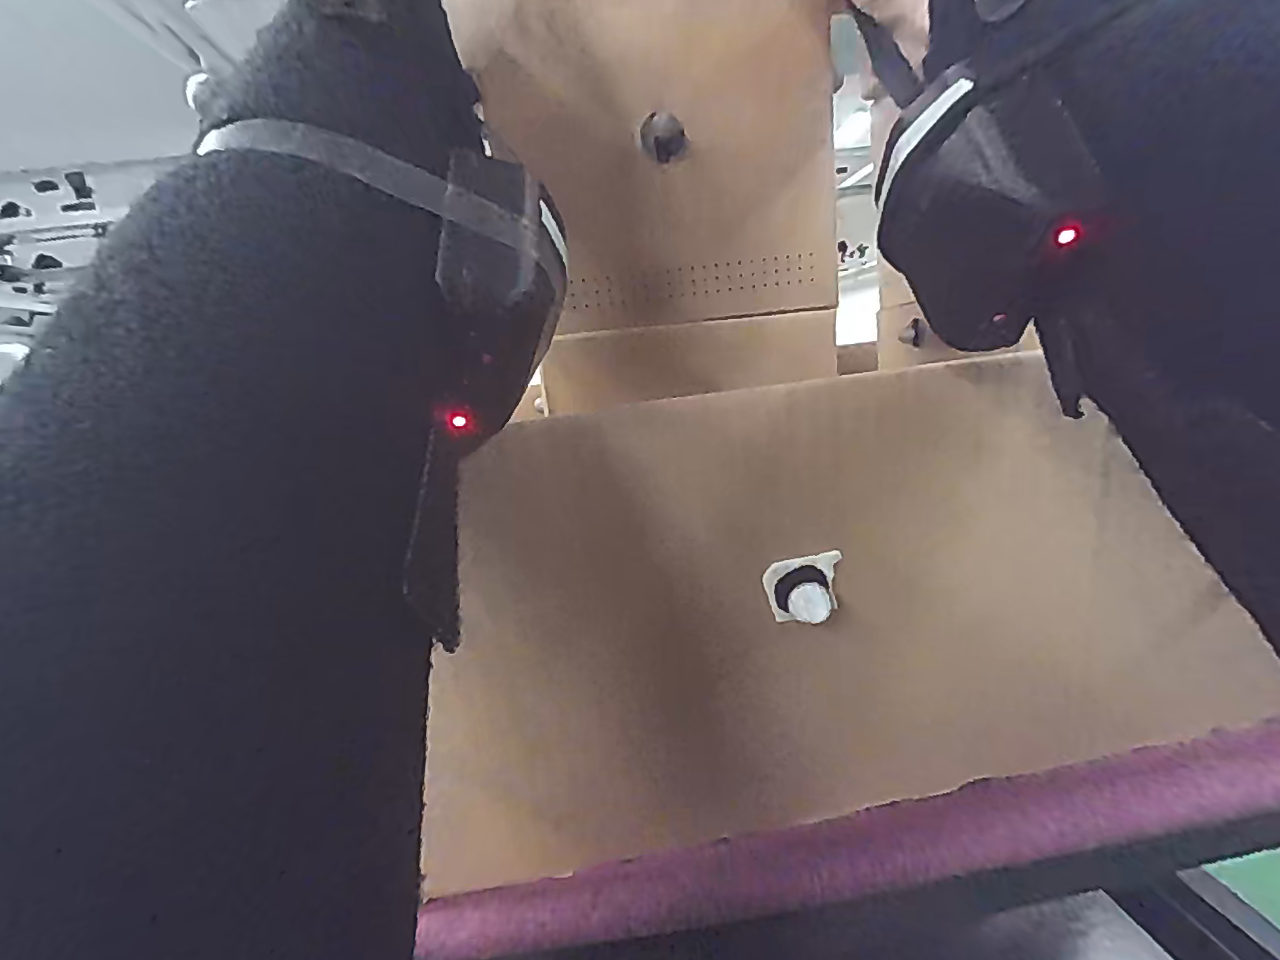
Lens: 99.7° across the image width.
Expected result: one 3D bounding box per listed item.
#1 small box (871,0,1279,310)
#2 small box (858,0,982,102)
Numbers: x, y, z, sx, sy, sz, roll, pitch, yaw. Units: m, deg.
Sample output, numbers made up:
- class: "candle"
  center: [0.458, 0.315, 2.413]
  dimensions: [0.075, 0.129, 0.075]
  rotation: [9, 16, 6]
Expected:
- class: "small box"
  center: [0.285, -0.222, 0.384]
  dimensions: [0.168, 0.176, 0.179]
  rotation: [-10, 13, -2]
- class: "small box"
  center: [0.249, -0.376, 0.345]
  dimensions: [0.168, 0.176, 0.179]
  rotation: [-9, 13, -1]
